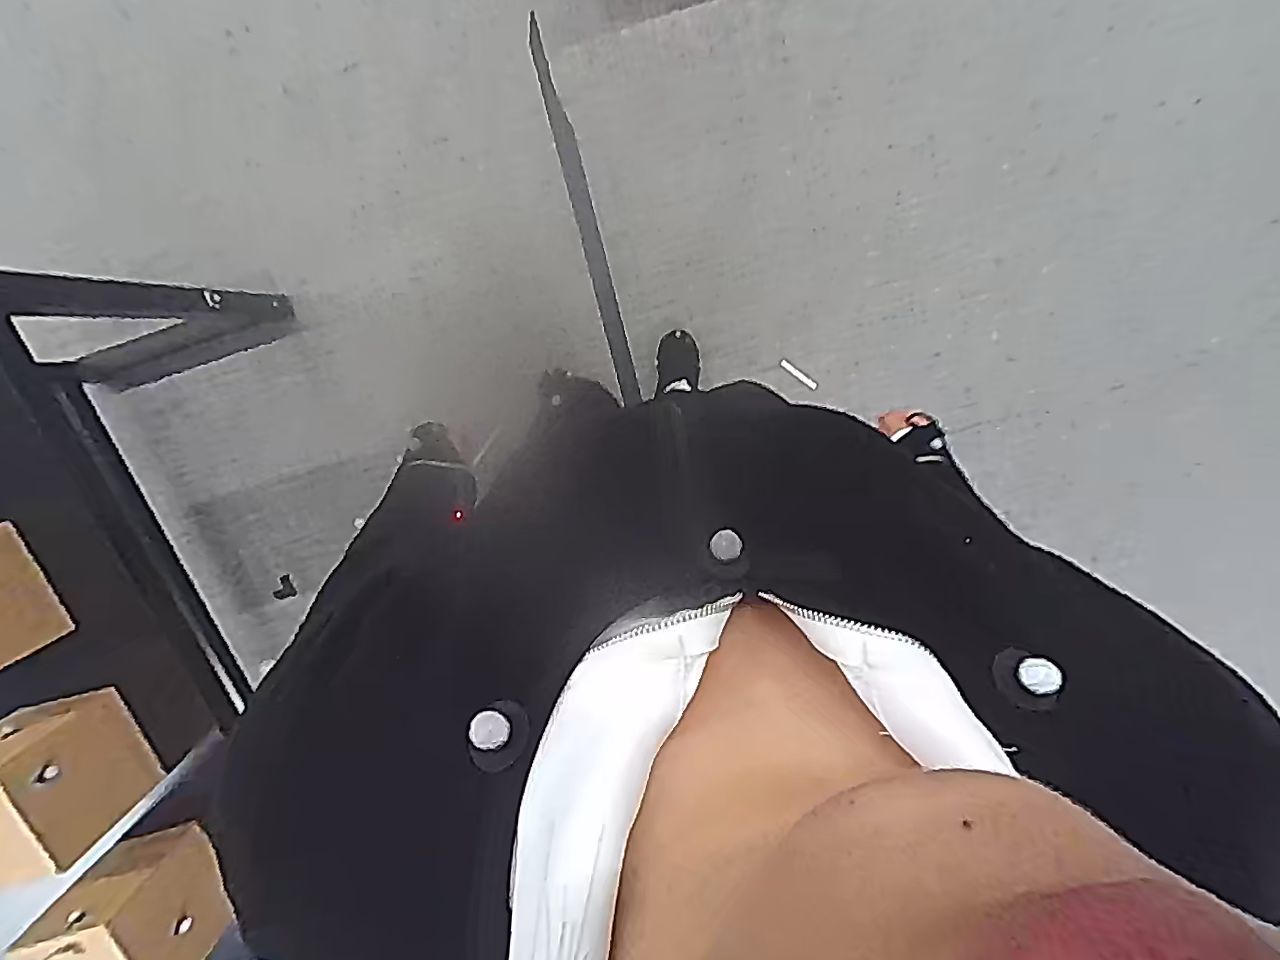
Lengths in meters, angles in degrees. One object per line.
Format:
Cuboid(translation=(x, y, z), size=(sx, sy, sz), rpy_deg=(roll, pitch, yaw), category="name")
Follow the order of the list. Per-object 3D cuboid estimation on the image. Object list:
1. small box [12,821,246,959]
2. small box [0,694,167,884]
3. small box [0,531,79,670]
Cuboid(translation=(-0.780, 0.687, 0.851), size=(0.168, 0.176, 0.179), rpy_deg=(-18, 105, 4), category="small box")
Cuboid(translation=(-0.856, 0.435, 0.779), size=(0.168, 0.176, 0.179), rpy_deg=(-14, 105, 4), category="small box")
Cuboid(translation=(-0.925, 0.180, 0.708), size=(0.168, 0.176, 0.179), rpy_deg=(-16, 105, 6), category="small box")
